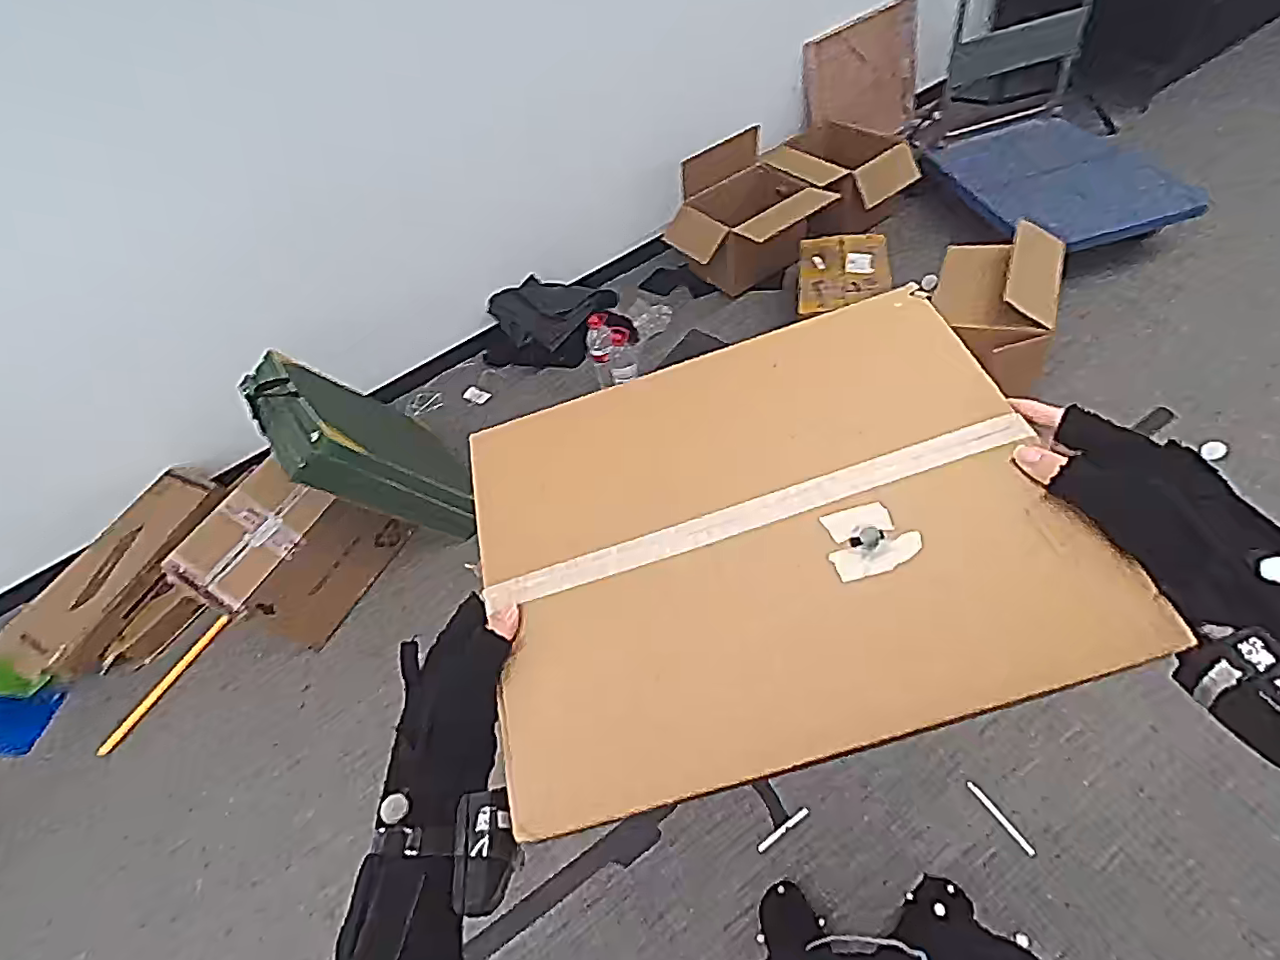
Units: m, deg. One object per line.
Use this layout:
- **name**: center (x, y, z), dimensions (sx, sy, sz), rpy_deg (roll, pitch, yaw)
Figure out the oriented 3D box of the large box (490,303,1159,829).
- **large box**: center (0.116, 0.102, 0.532), dimensions (0.408, 0.320, 0.320), rpy_deg (-18, 60, 3)
